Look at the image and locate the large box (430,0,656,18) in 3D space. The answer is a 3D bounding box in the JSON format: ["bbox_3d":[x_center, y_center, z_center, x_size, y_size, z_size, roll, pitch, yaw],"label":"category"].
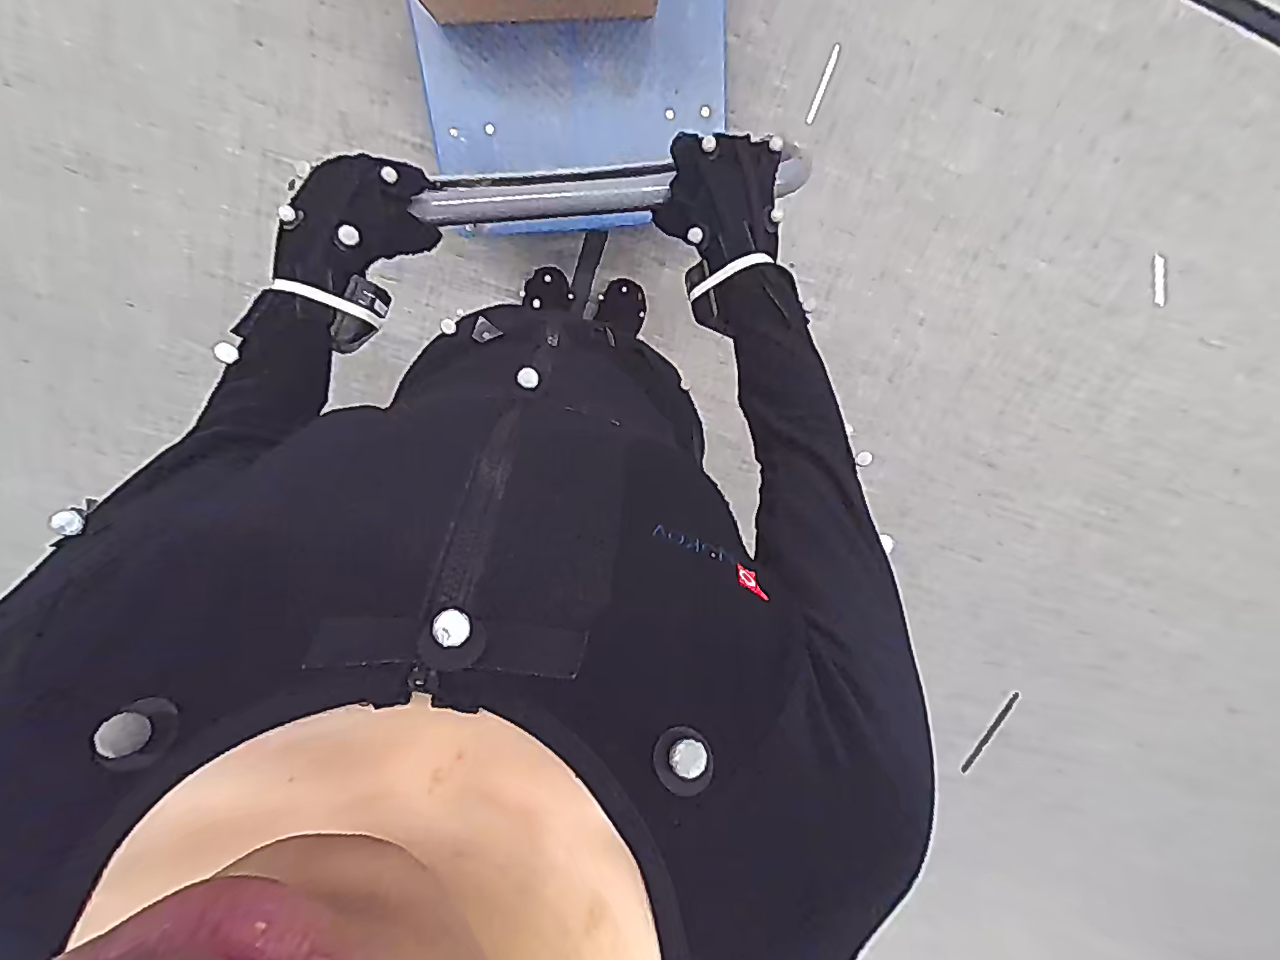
[{"bbox_3d":[-0.168,-0.934,0.796,0.408,0.320,0.320,-3,113,0],"label":"large box"}]
